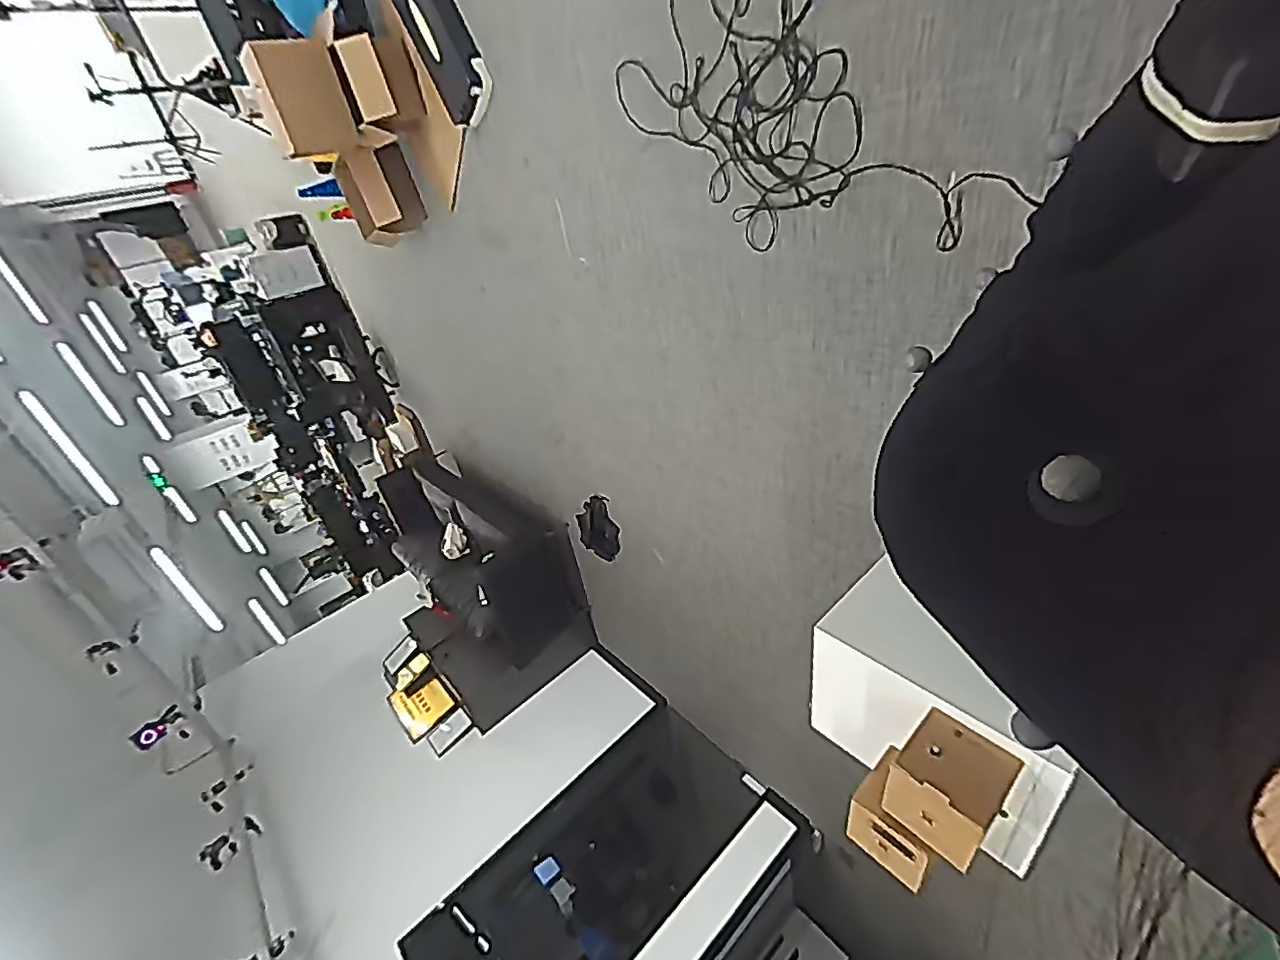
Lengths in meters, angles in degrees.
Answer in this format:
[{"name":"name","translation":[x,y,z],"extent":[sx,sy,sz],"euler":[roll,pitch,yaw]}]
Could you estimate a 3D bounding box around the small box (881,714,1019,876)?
[{"name":"small box","translation":[0.590,0.592,1.034],"extent":[0.168,0.176,0.179],"euler":[29,140,43]}]
